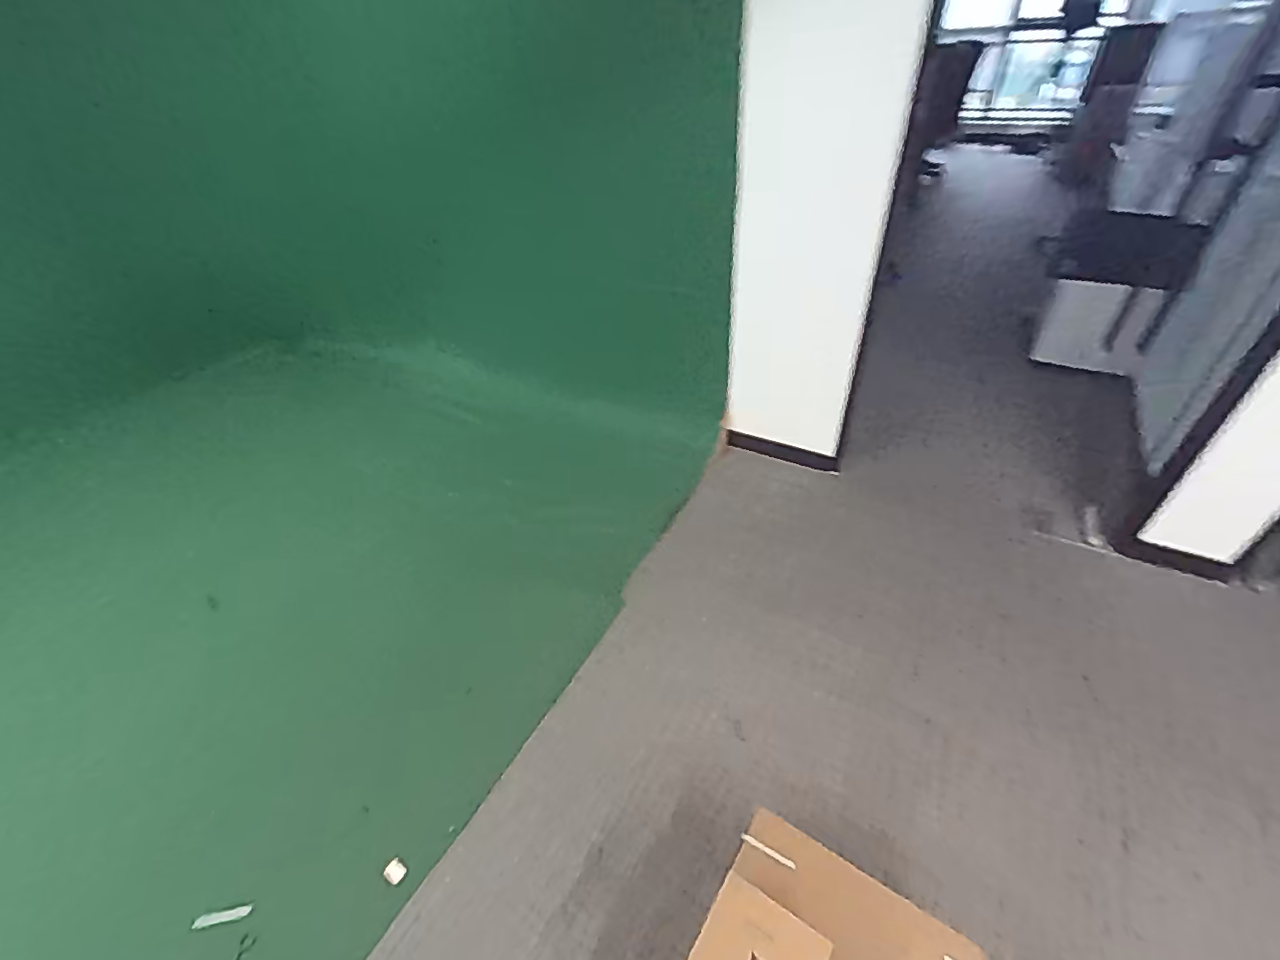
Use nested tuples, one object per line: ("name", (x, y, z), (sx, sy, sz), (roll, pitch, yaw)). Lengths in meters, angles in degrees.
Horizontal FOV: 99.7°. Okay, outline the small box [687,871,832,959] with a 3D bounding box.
("small box", (0.162, 0.737, 0.792), (0.168, 0.176, 0.179), (22, 45, 28))
